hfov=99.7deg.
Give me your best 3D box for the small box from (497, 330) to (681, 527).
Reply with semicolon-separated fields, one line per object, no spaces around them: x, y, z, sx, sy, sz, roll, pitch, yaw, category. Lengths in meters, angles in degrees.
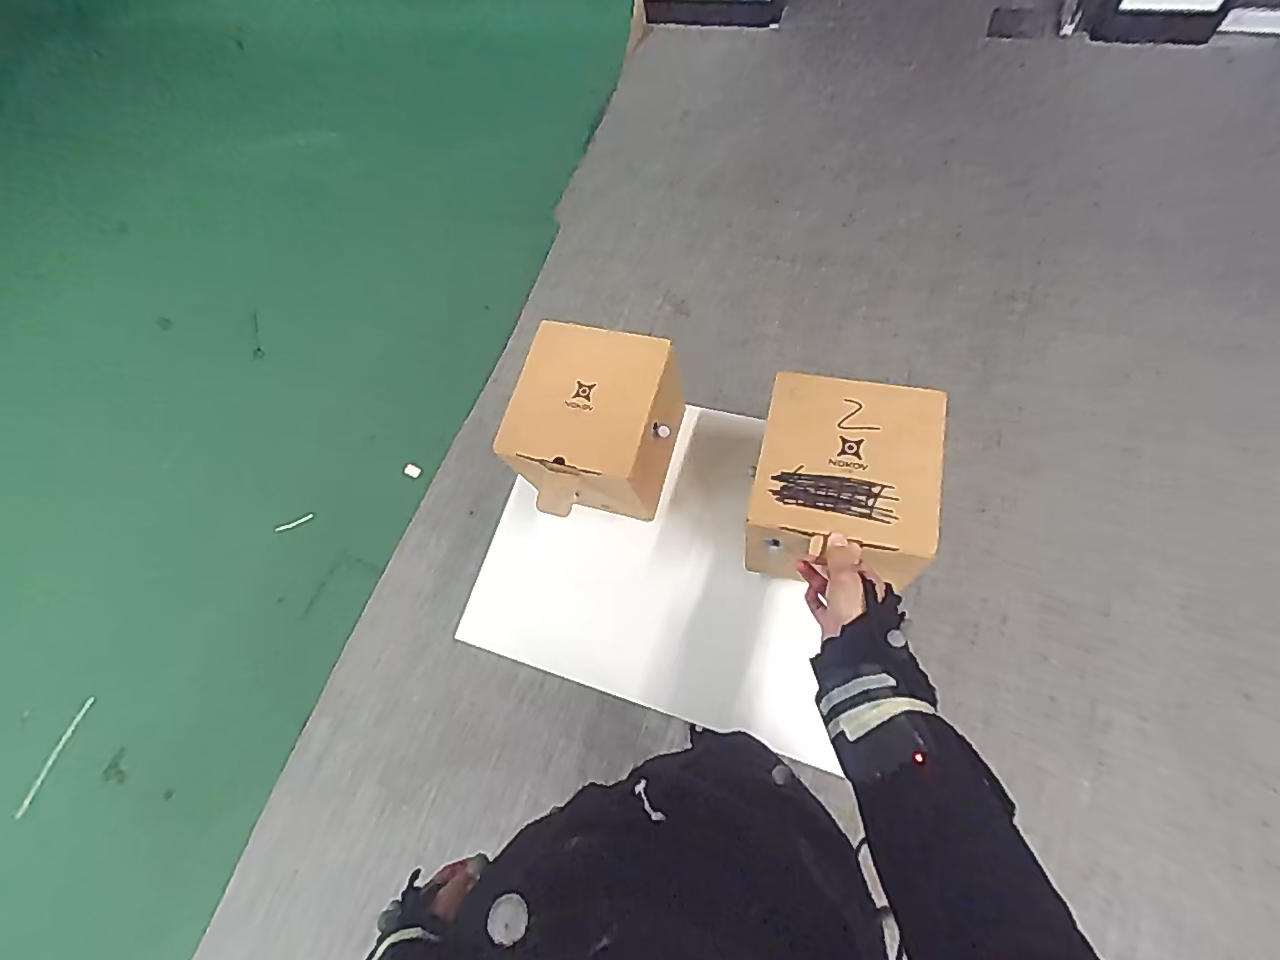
-0.048;-0.058;0.684;0.168;0.176;0.179;13;74;14;small box
